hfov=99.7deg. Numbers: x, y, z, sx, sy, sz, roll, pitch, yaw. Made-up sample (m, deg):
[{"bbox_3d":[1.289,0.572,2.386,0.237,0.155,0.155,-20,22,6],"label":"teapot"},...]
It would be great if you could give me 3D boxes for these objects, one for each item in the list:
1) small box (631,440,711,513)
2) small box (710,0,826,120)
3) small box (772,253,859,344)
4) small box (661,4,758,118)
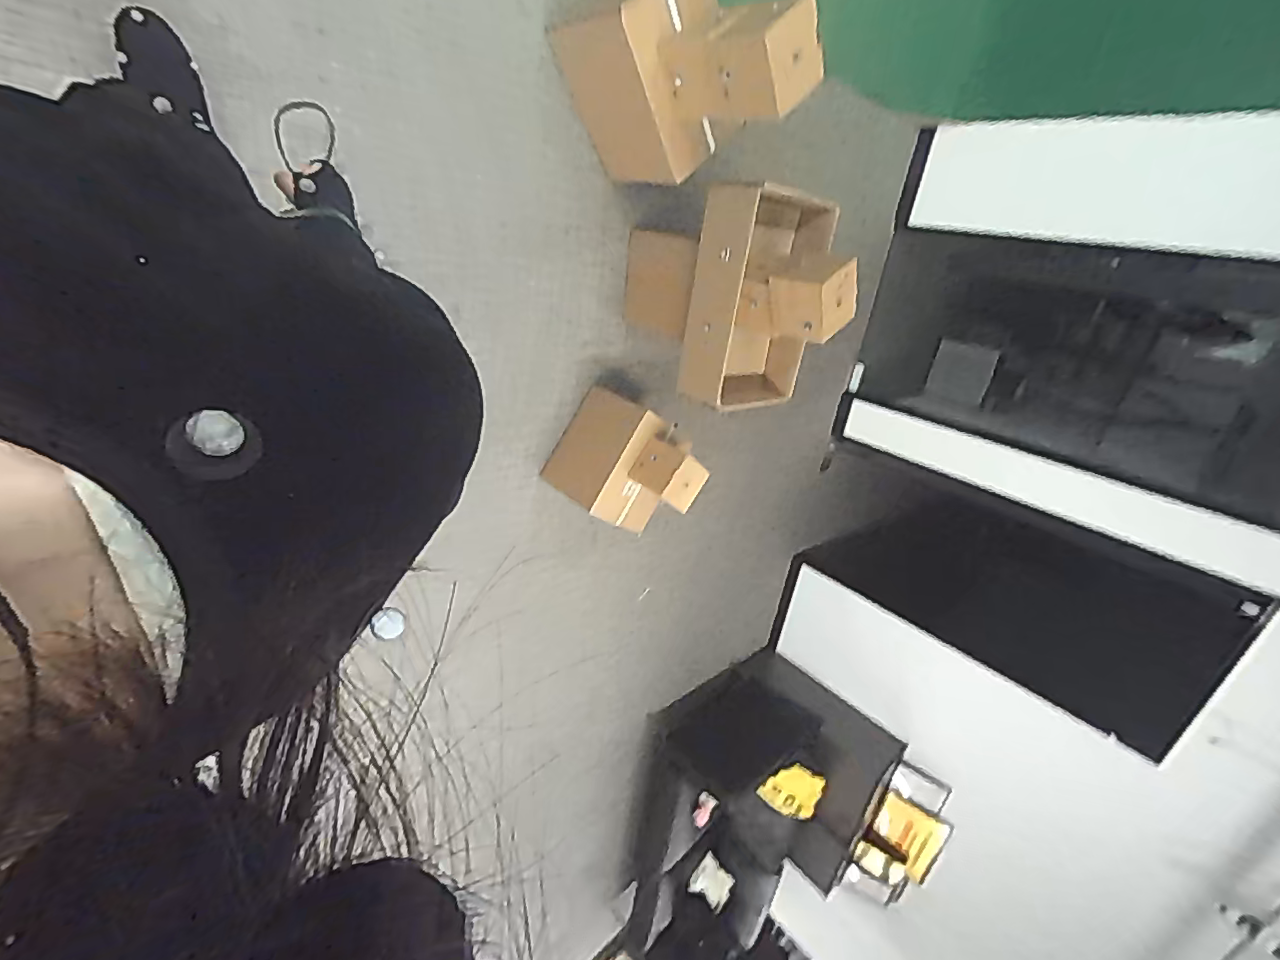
[{"bbox_3d":[0.104,-0.014,1.843,0.168,0.176,0.179,-57,141,-2],"label":"small box"},{"bbox_3d":[0.286,-0.939,1.208,0.179,0.176,0.168,-47,138,-14],"label":"small box"},{"bbox_3d":[0.488,-0.511,1.511,0.168,0.176,0.179,-40,135,-22],"label":"small box"},{"bbox_3d":[0.181,-1.009,1.311,0.179,0.176,0.168,-45,138,-16],"label":"small box"}]
